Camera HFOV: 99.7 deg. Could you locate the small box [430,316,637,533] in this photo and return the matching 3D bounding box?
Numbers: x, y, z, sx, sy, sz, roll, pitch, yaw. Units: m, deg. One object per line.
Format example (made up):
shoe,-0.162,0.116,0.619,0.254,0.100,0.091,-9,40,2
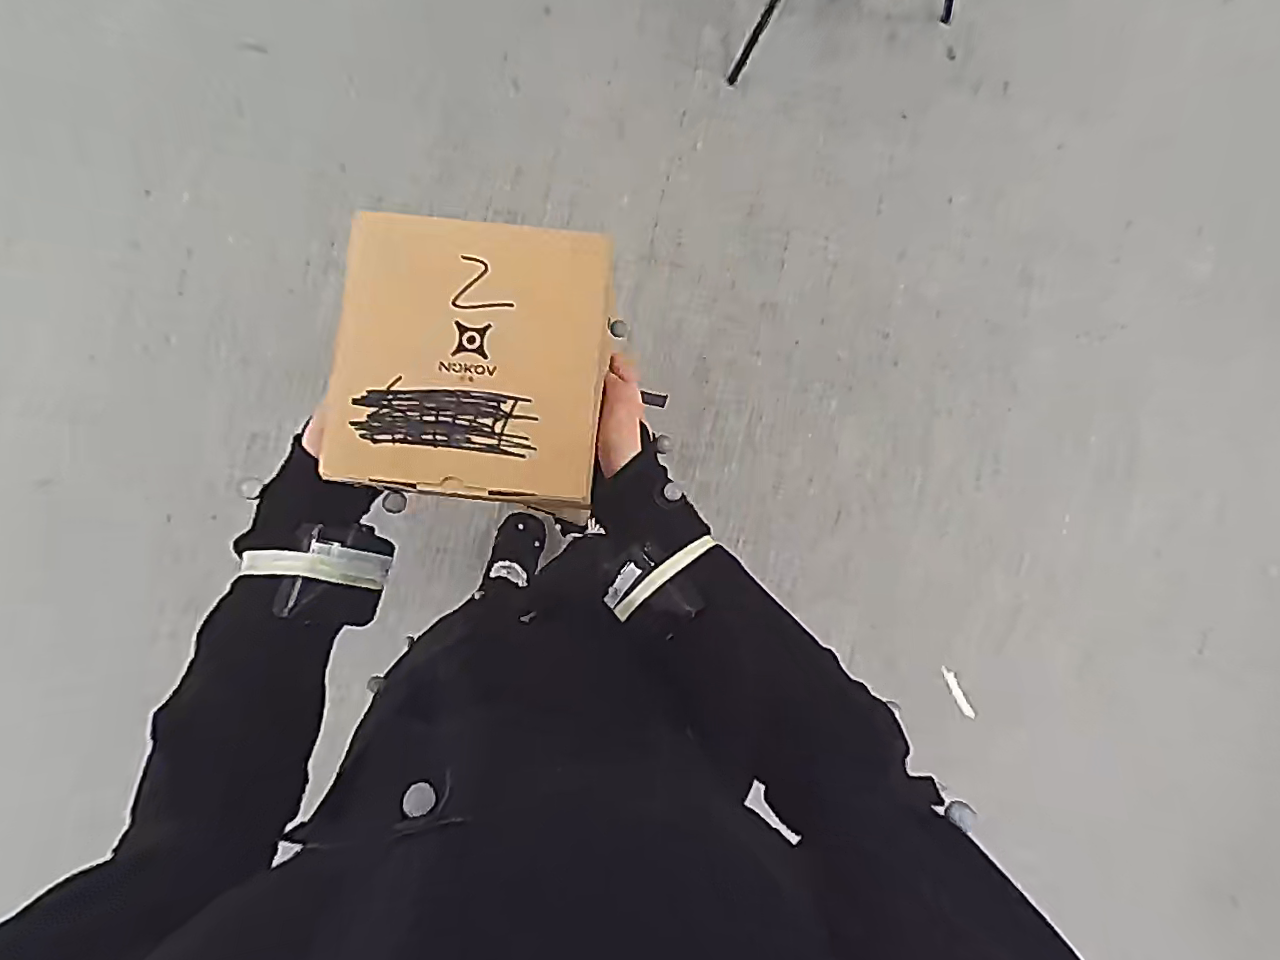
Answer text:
small box,-0.109,-0.057,0.616,0.168,0.176,0.179,19,92,-4
